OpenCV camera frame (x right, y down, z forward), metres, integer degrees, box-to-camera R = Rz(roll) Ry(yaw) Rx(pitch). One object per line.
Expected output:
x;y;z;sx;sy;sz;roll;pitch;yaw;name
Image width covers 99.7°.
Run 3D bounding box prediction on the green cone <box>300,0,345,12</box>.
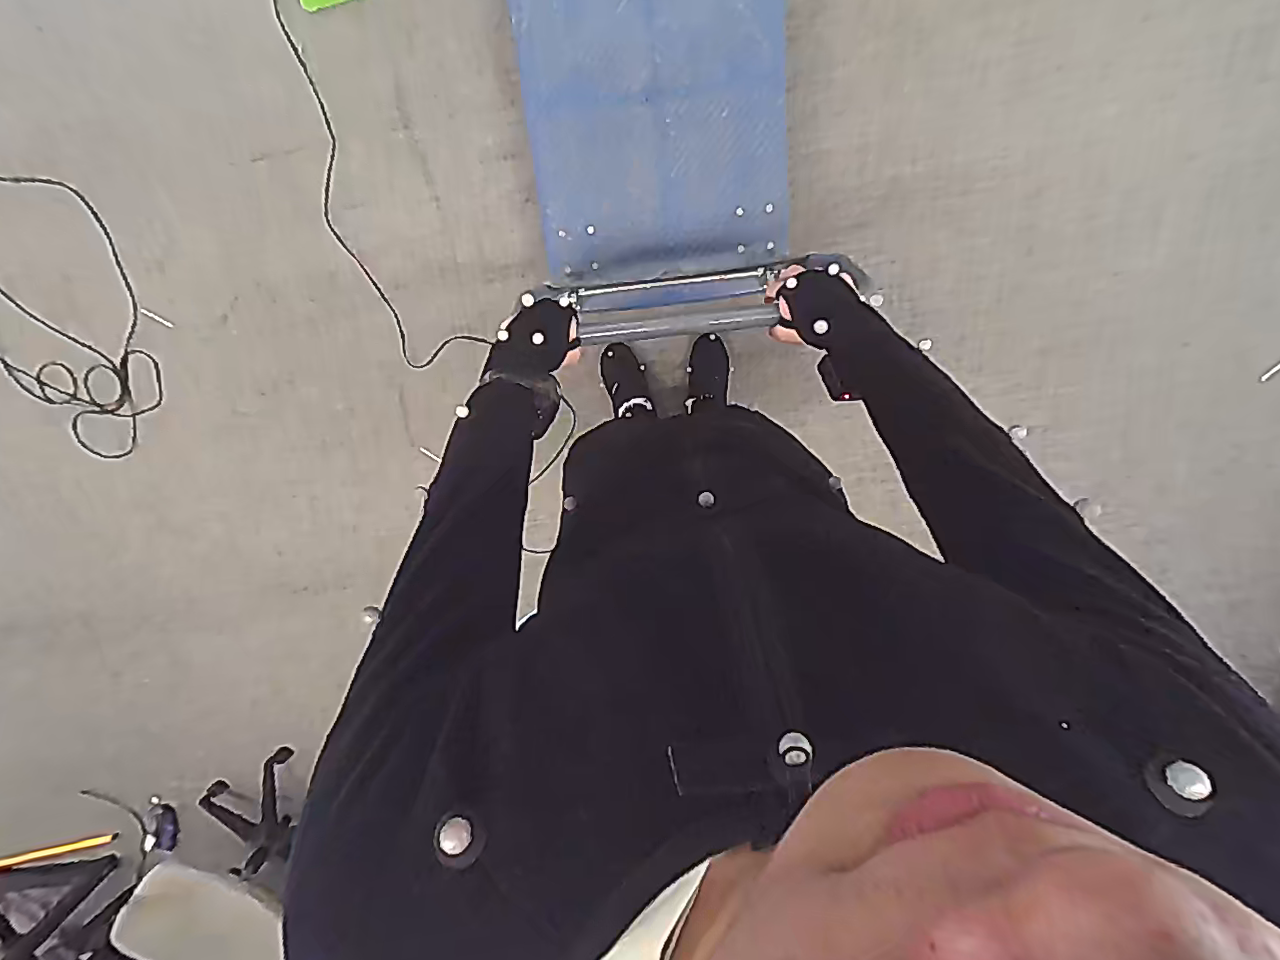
-0.751;-1.184;1.104;0.202;0.368;0.200;-11;108;8;green cone
